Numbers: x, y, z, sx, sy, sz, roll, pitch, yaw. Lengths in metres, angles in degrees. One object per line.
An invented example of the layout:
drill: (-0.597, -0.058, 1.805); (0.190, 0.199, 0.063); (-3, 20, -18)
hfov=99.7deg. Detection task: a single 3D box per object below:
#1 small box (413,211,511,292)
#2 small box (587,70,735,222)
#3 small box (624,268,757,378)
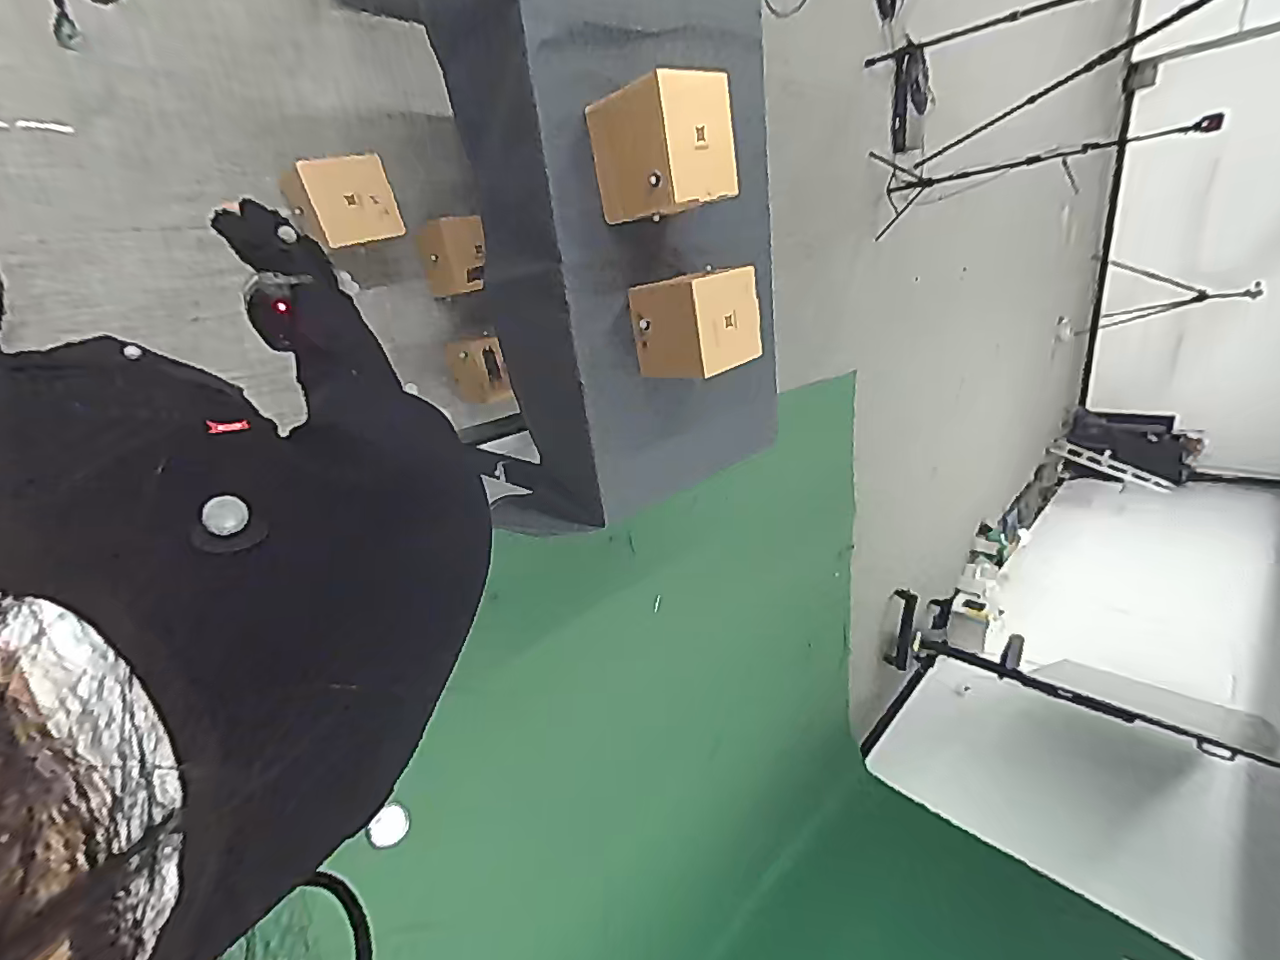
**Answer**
small box: (-0.467, -0.594, 1.419); (0.168, 0.176, 0.179); (-27, 117, -37)
small box: (0.033, -0.541, 0.892); (0.168, 0.176, 0.179); (-30, 120, -36)
small box: (0.097, -0.295, 1.016); (0.179, 0.176, 0.168); (-28, 118, -37)
